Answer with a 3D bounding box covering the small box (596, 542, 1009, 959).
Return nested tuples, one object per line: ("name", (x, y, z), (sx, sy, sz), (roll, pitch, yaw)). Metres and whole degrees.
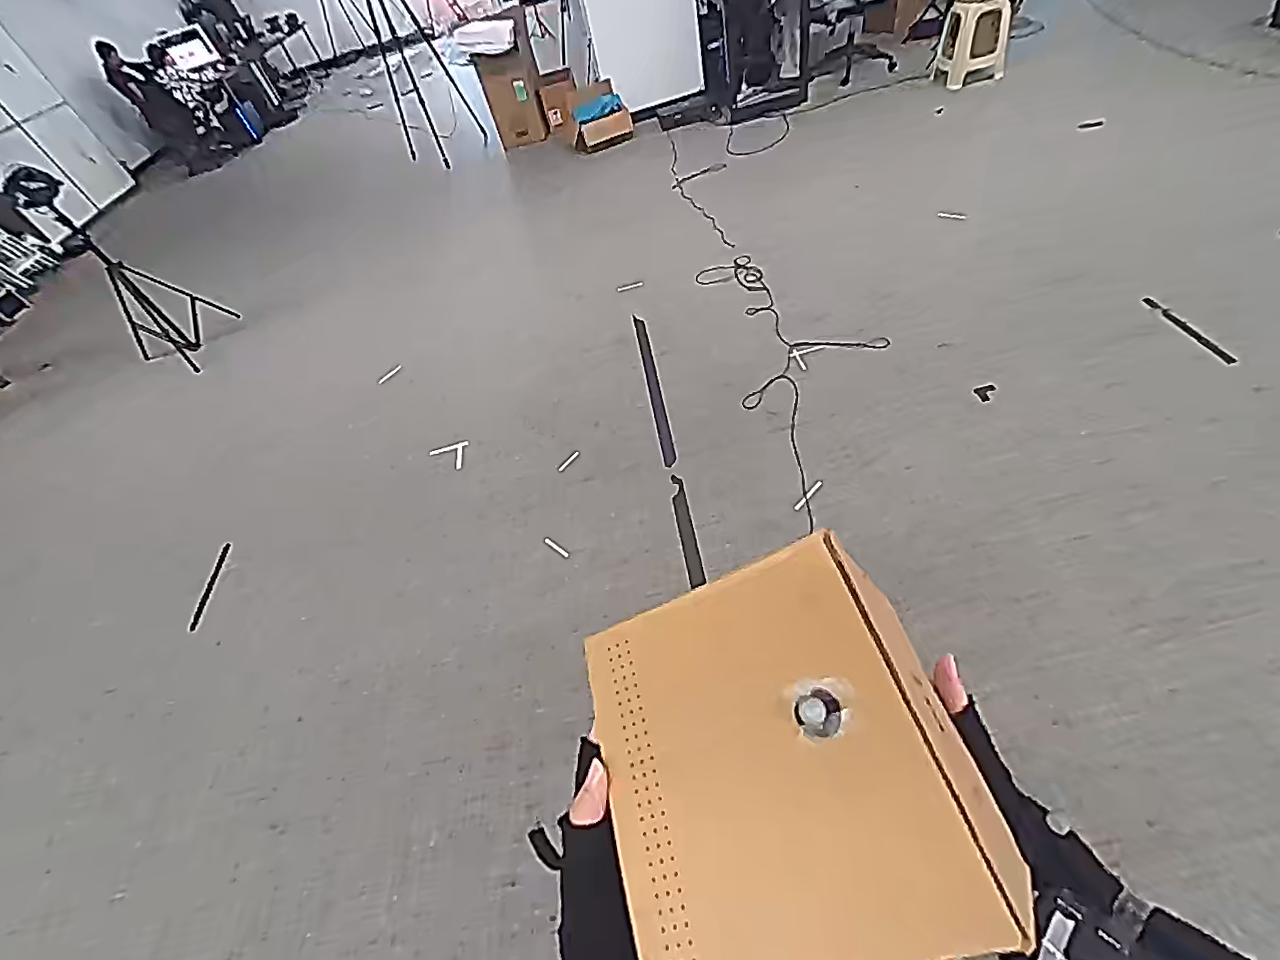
("small box", (0.090, 0.171, 0.336), (0.176, 0.168, 0.179), (-30, 53, 20))
